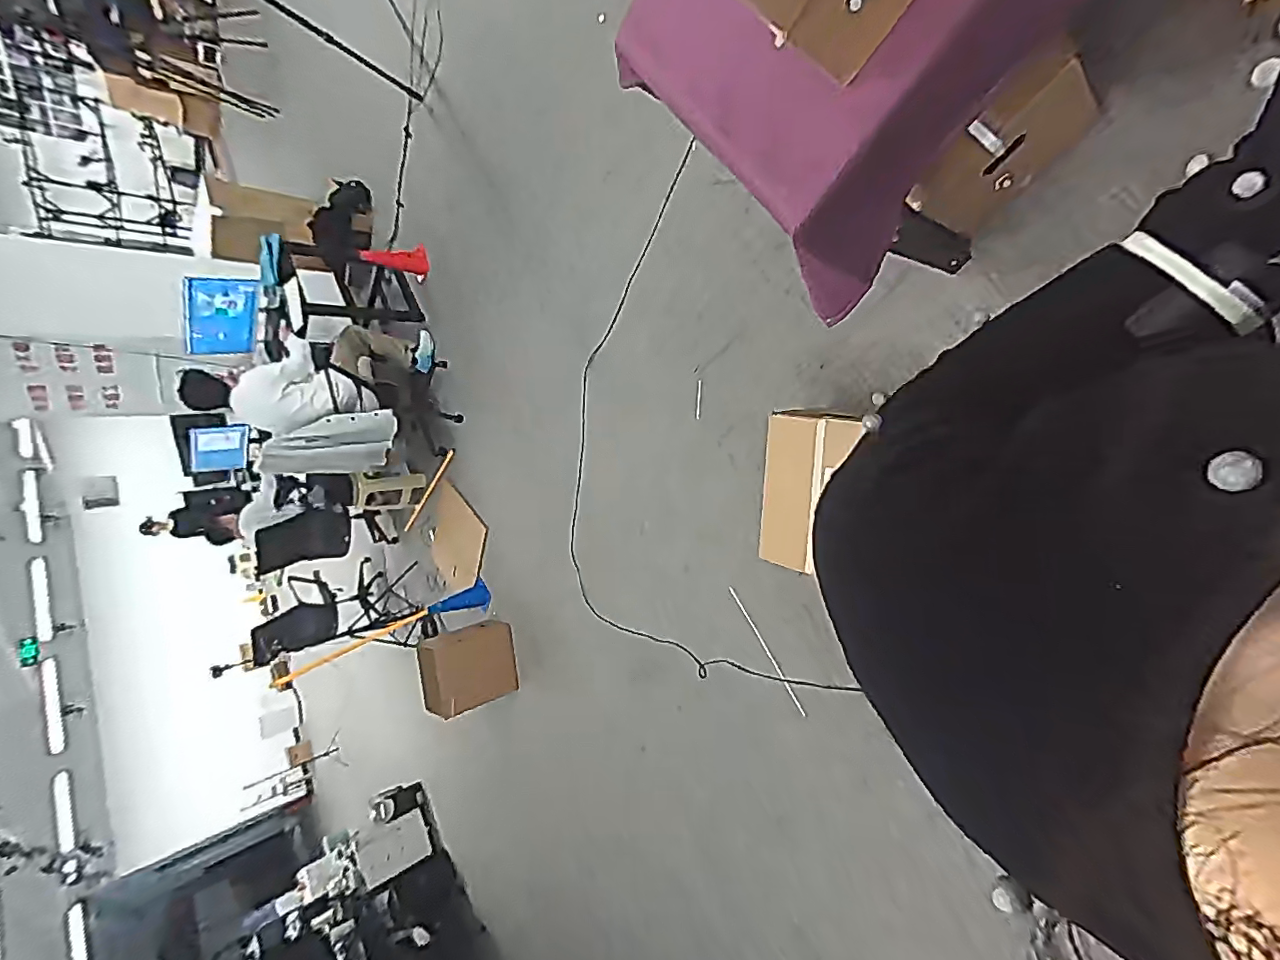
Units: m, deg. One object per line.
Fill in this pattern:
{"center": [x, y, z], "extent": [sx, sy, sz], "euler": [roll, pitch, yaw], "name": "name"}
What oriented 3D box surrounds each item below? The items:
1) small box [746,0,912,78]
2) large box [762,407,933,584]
{"center": [0.243, -0.657, 0.676], "extent": [0.179, 0.176, 0.168], "euler": [-46, 66, 43], "name": "small box"}
{"center": [0.554, 0.017, 1.455], "extent": [0.320, 0.320, 0.408], "euler": [13, 106, 44], "name": "large box"}
